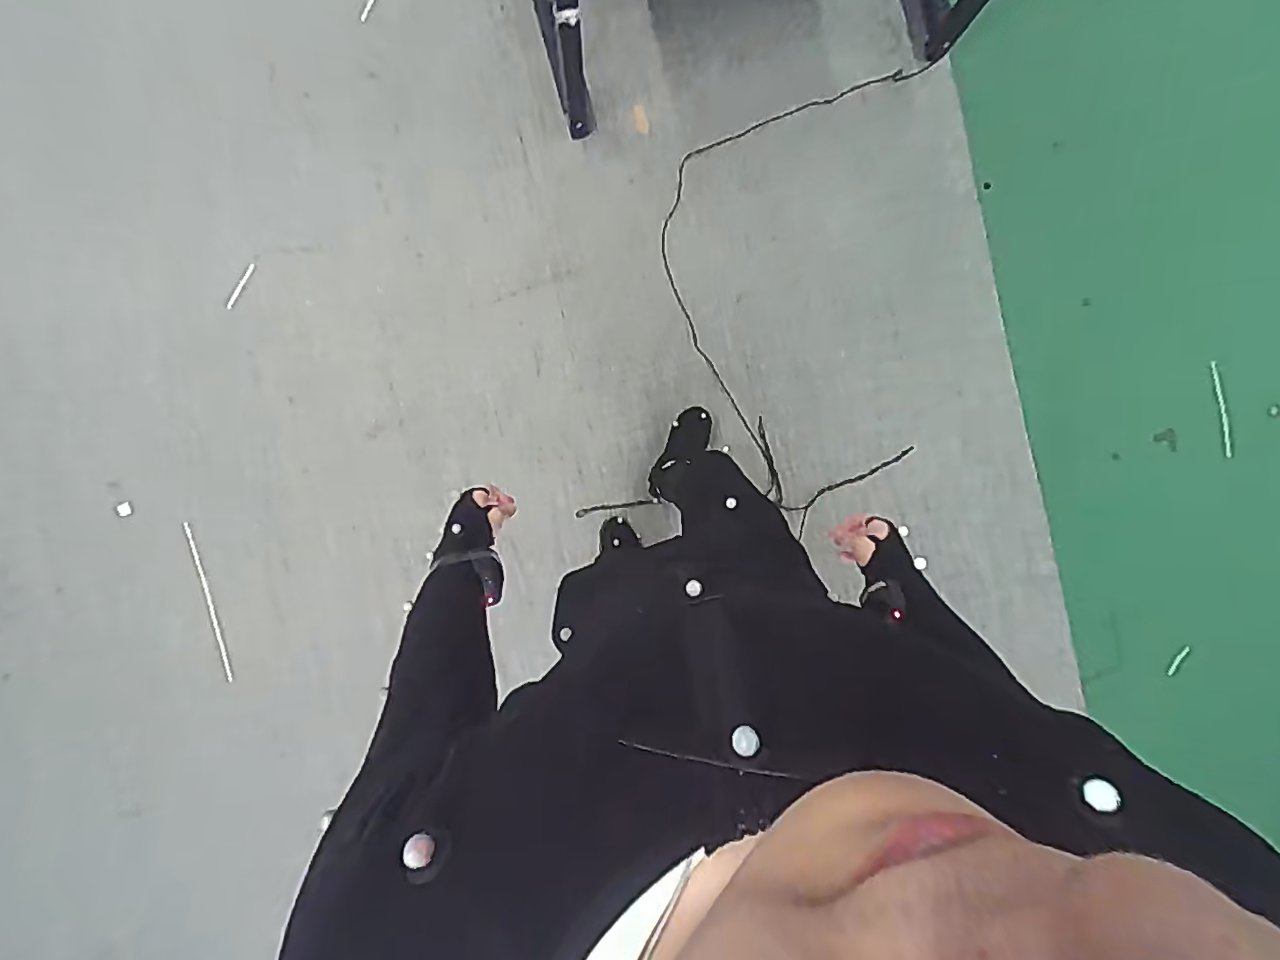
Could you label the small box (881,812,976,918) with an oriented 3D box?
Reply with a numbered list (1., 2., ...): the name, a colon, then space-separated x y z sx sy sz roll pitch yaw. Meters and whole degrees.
1. small box: 0.814 1.084 1.541 0.168 0.176 0.179 -11 92 -3
